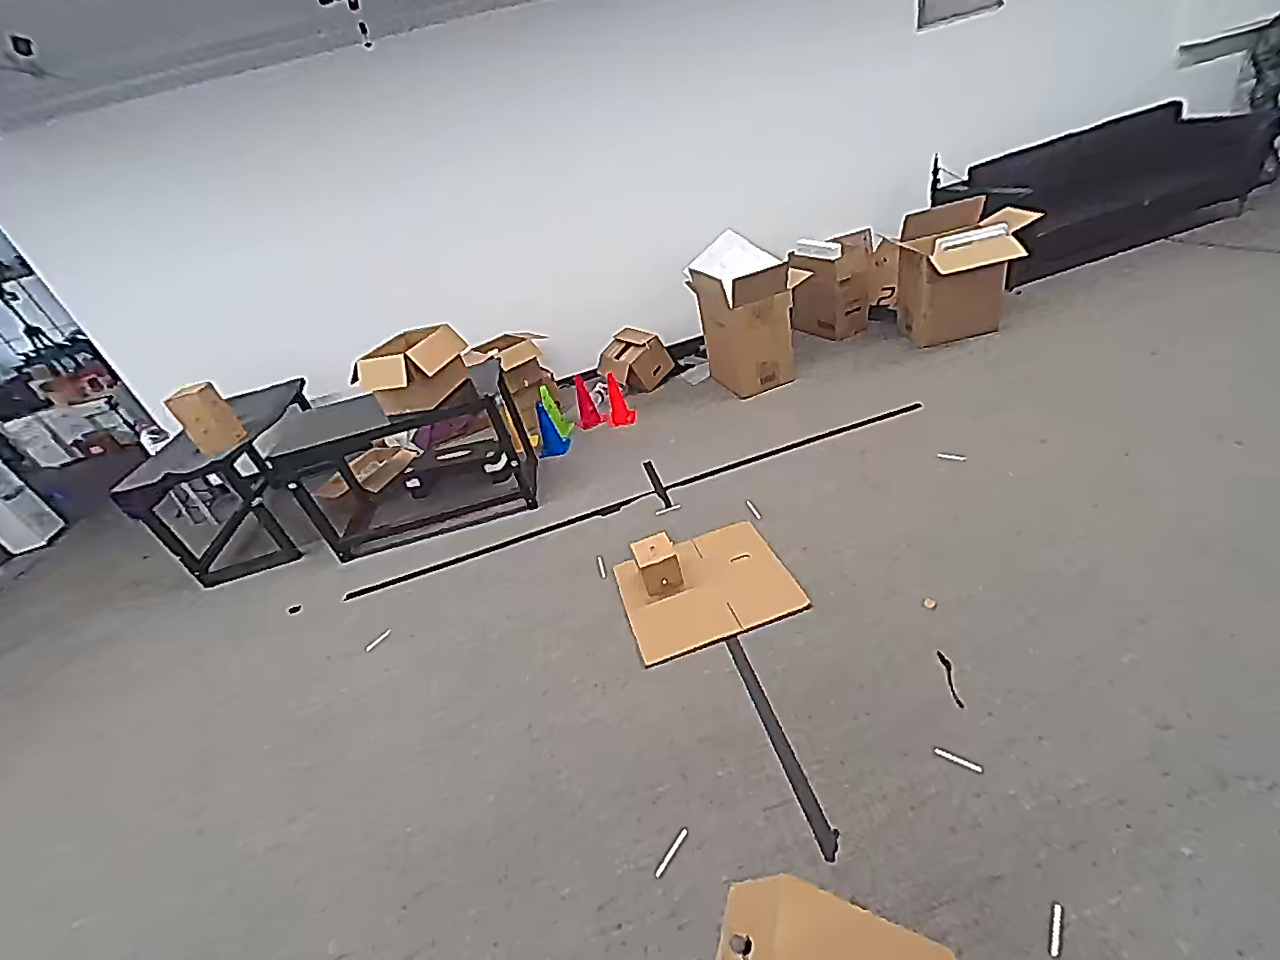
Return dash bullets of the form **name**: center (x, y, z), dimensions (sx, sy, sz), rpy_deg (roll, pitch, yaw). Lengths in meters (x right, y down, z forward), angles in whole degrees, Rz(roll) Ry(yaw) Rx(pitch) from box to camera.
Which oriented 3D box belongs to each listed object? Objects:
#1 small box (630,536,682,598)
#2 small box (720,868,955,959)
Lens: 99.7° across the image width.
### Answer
- **small box**: center (0.071, 0.383, 2.370), dimensions (0.168, 0.176, 0.179), rpy_deg (-20, 33, -5)
- **small box**: center (0.173, 0.512, 0.522), dimensions (0.179, 0.176, 0.168), rpy_deg (23, 50, 4)
